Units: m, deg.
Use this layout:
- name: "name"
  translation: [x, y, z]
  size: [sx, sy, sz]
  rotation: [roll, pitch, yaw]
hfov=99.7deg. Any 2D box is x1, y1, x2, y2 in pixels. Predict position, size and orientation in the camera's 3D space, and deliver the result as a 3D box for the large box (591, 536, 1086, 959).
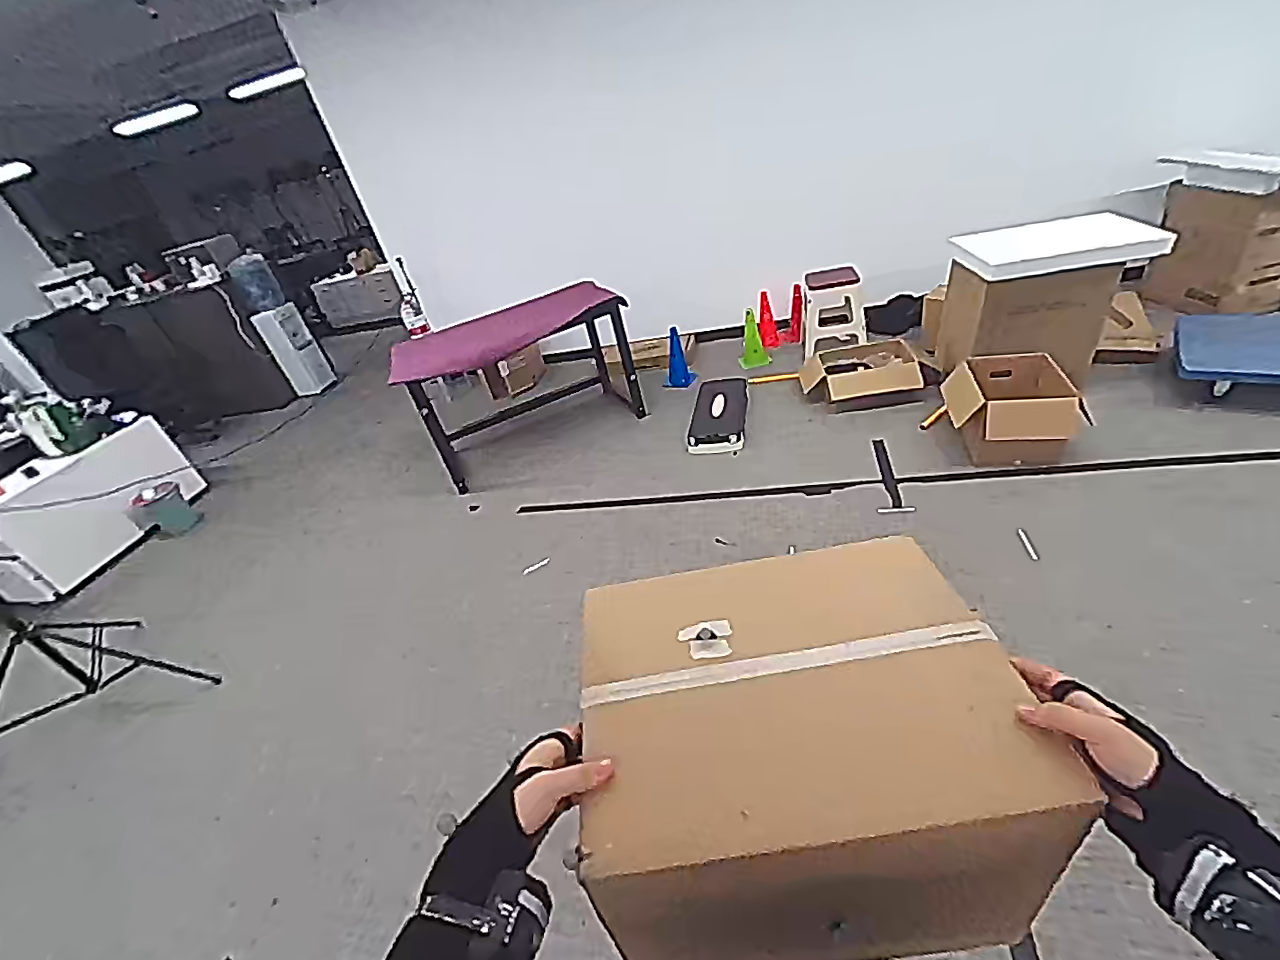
- name: "large box"
  translation: [0.174, 0.312, 0.631]
  size: [0.408, 0.320, 0.320]
  rotation: [-11, 33, 3]
